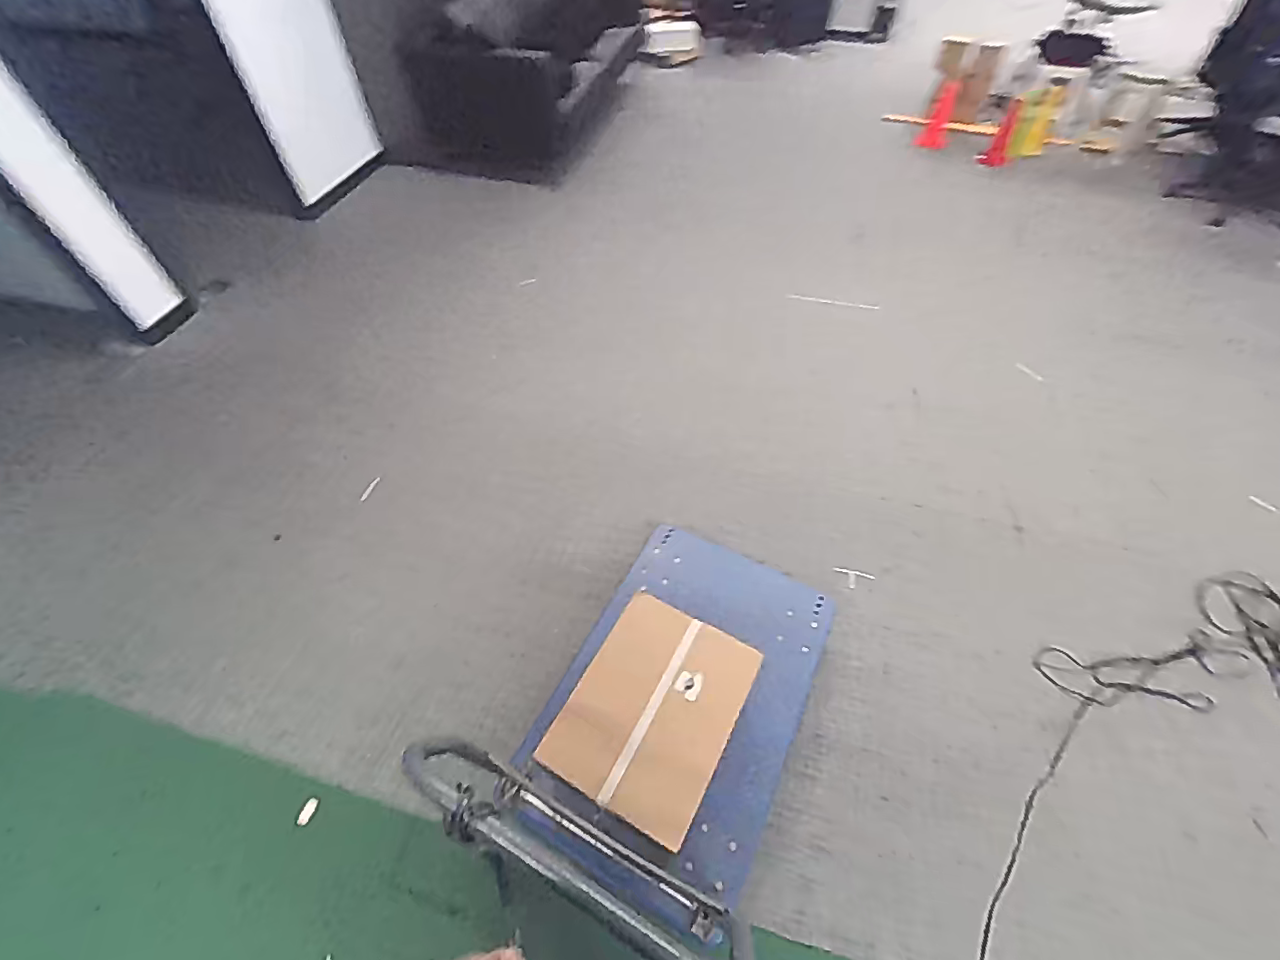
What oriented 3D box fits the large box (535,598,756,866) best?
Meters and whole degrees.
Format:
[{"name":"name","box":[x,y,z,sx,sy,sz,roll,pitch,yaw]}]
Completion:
[{"name":"large box","box":[0.023,0.556,1.209,0.320,0.320,0.408,24,55,18]}]
